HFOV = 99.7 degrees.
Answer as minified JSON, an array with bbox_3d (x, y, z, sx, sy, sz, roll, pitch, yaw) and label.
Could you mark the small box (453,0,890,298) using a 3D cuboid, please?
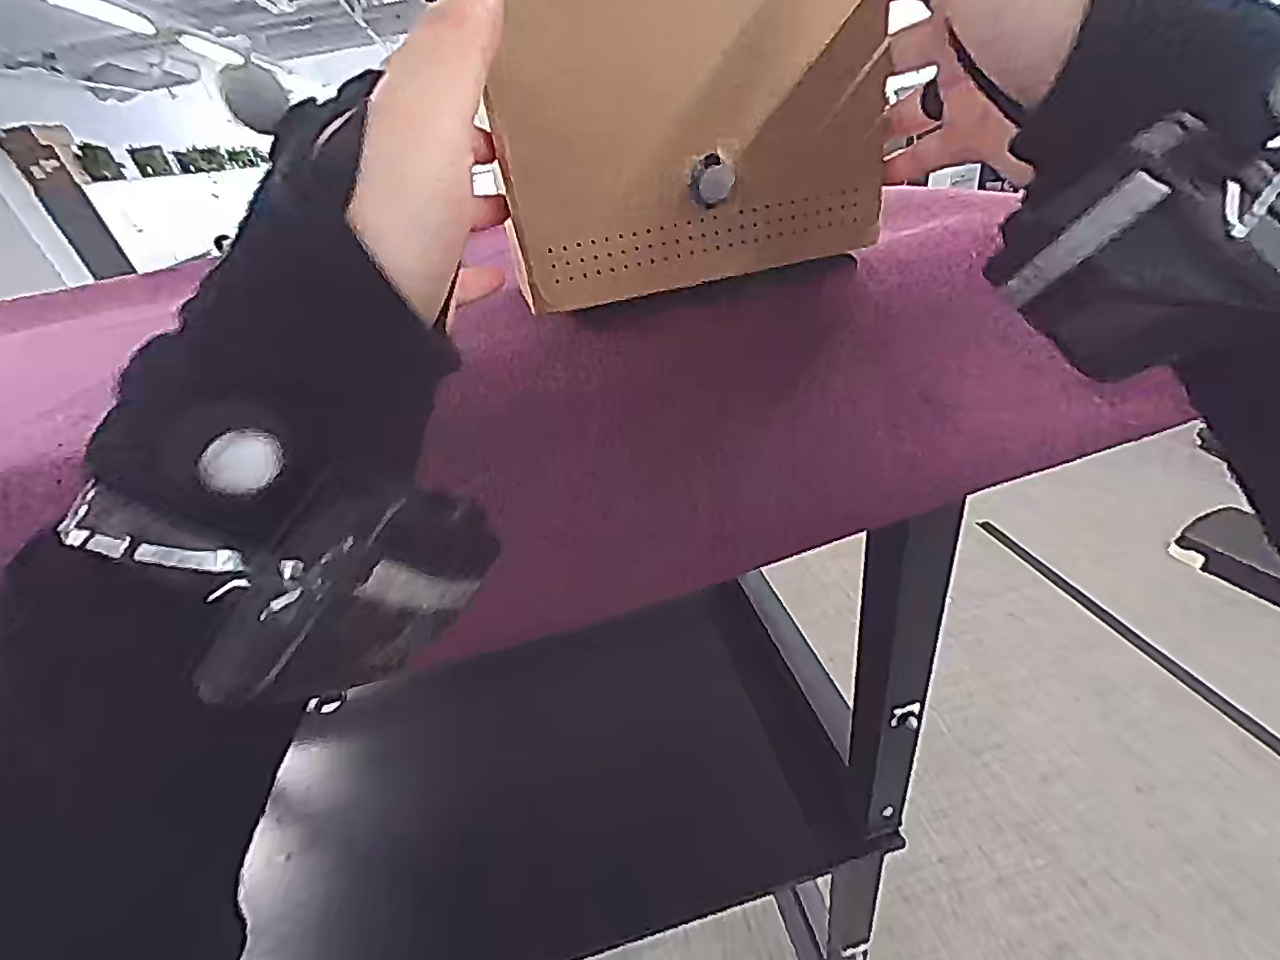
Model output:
[{"bbox_3d":[0.005,-0.204,0.278,0.179,0.176,0.168,-15,28,-9],"label":"small box"}]
